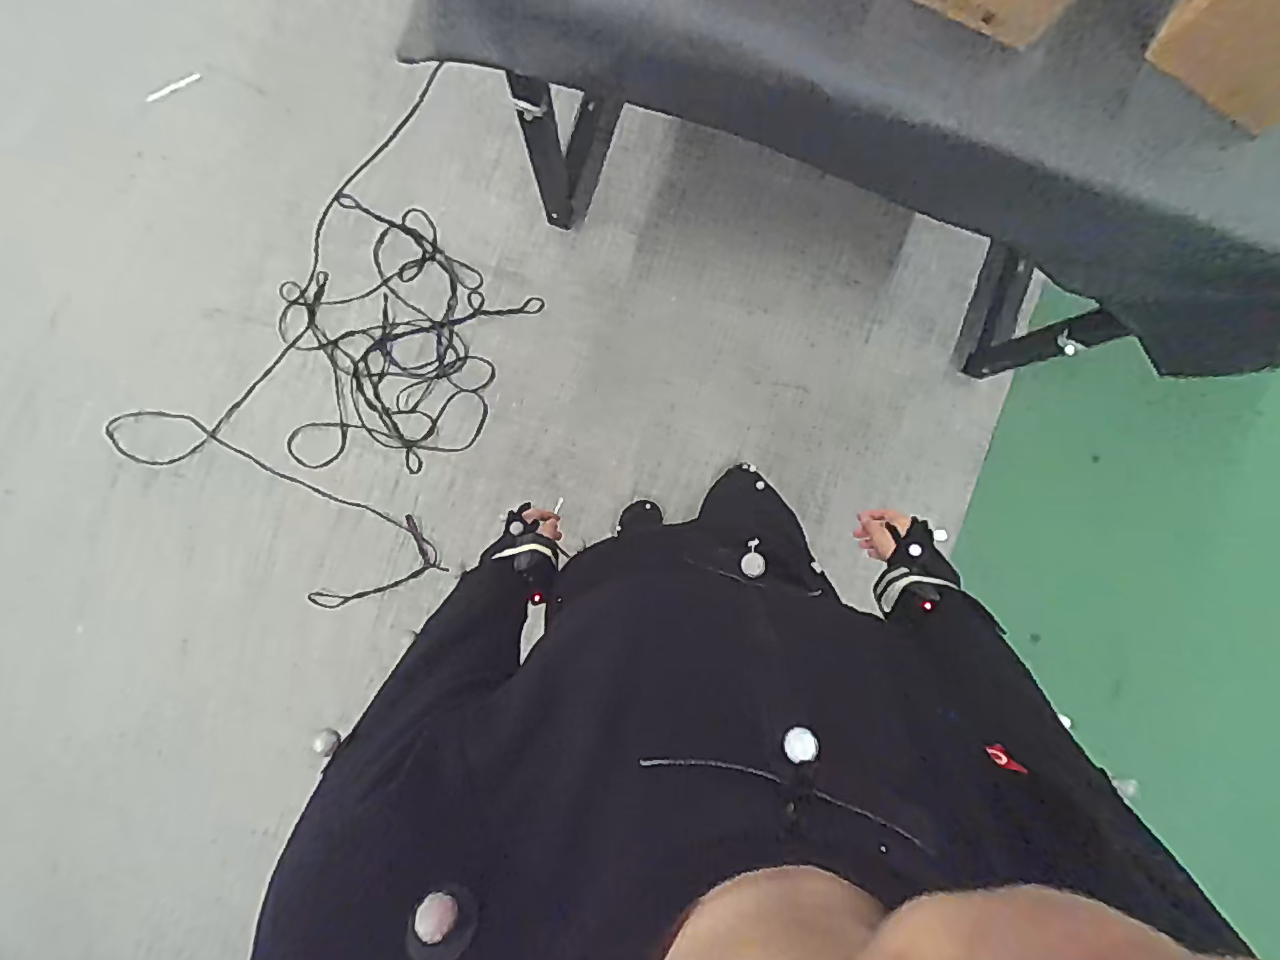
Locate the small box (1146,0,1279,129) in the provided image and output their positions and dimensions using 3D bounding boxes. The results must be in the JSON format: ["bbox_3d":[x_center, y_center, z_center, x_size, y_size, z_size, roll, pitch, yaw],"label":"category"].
[{"bbox_3d":[0.728,-0.527,0.582,0.179,0.176,0.168,33,87,0],"label":"small box"}]
